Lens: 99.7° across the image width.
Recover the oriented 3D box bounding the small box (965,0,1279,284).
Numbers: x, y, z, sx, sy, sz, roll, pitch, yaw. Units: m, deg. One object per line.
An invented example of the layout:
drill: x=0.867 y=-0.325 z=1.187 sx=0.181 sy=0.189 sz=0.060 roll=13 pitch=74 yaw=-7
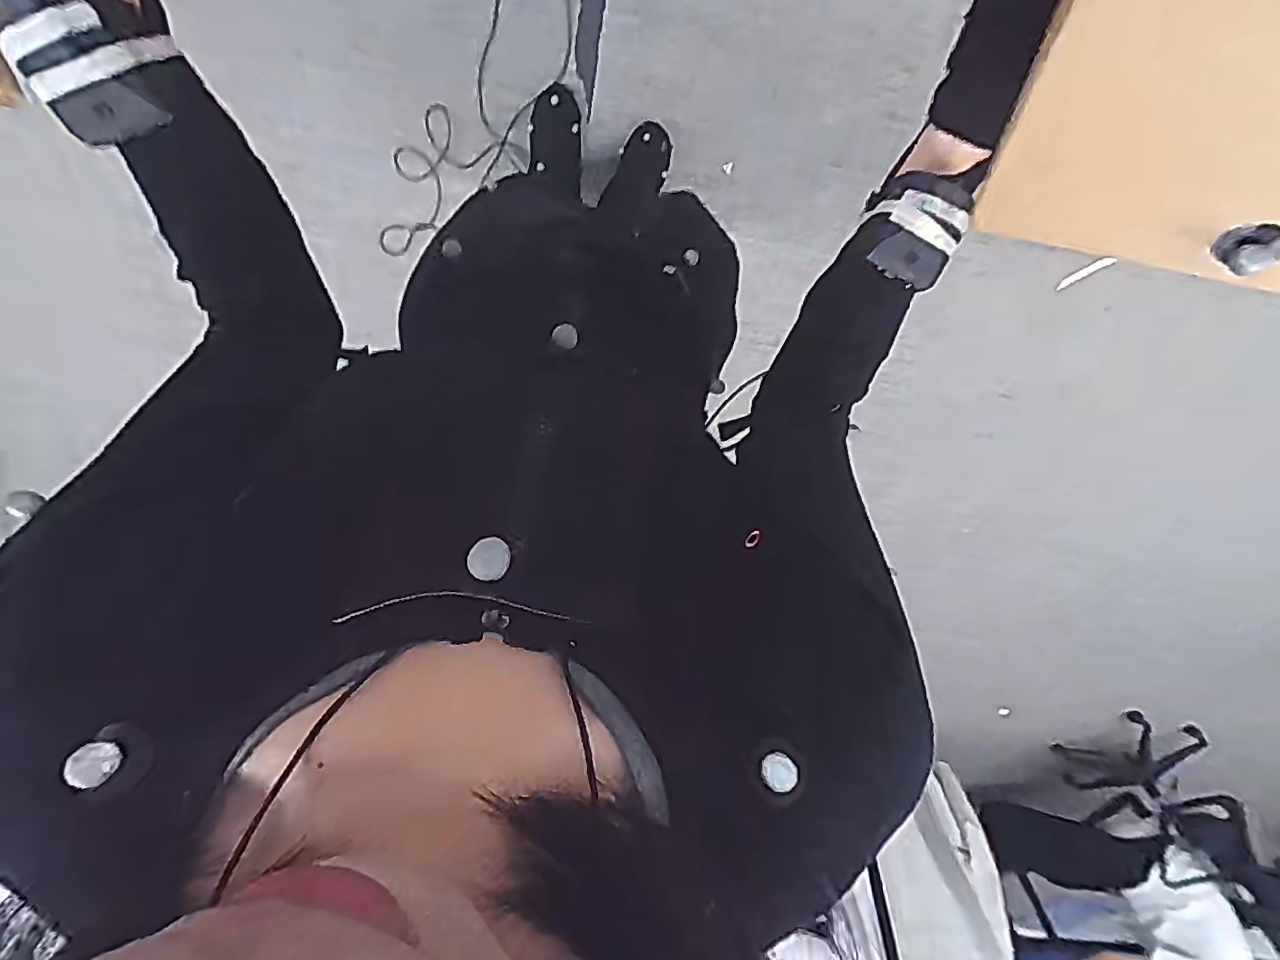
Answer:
small box: x=0.244 y=-0.194 z=0.171 sx=0.168 sy=0.179 sz=0.176 roll=23 pitch=169 yaw=19
